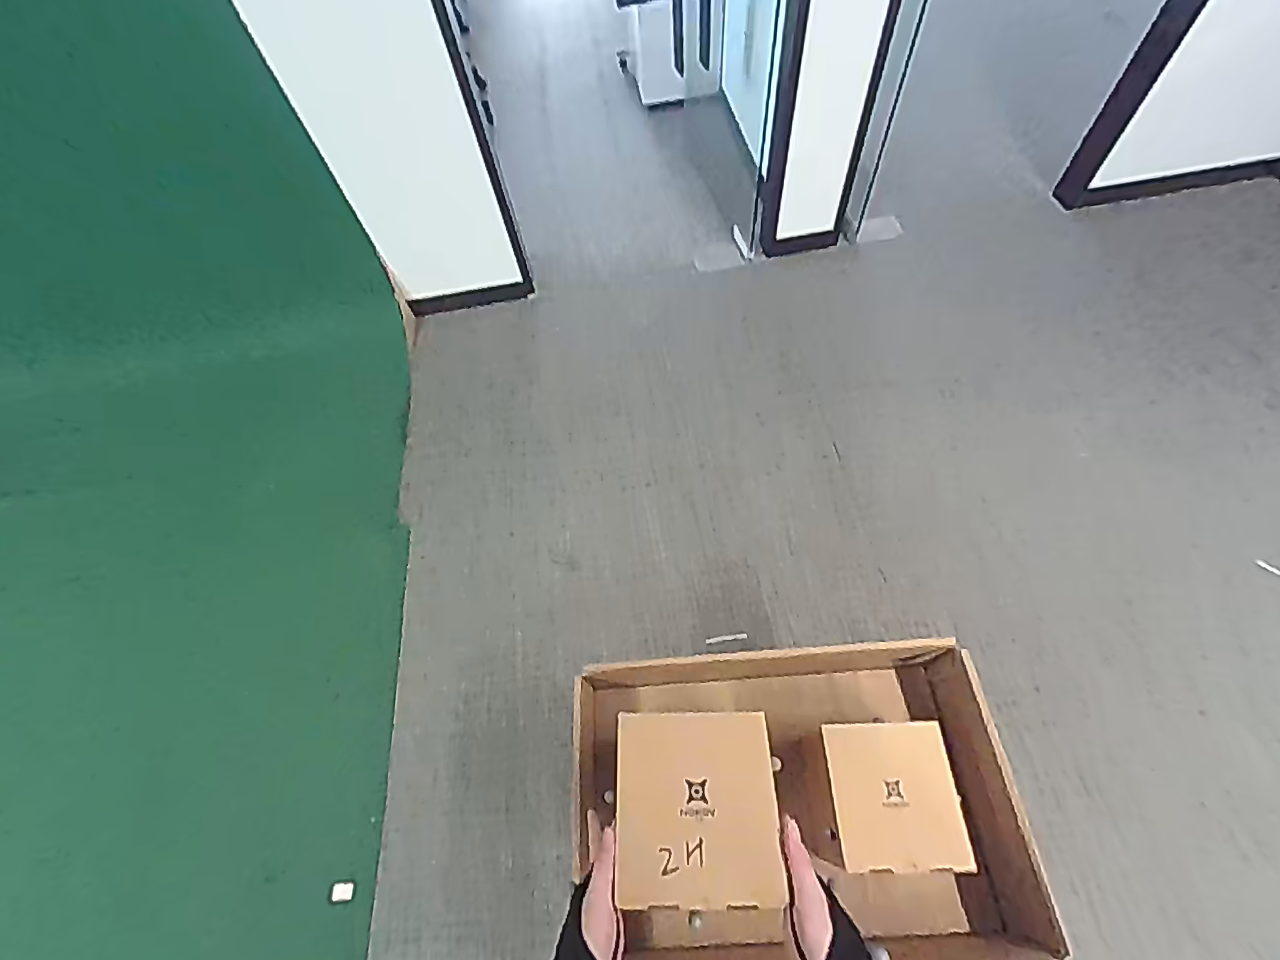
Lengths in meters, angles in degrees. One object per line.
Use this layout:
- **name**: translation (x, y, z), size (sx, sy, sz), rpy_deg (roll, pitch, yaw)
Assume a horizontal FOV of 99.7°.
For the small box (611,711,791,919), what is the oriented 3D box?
- **small box**: translation (0.058, 0.373, 0.601), size (0.168, 0.176, 0.179), rpy_deg (-2, 51, 2)
